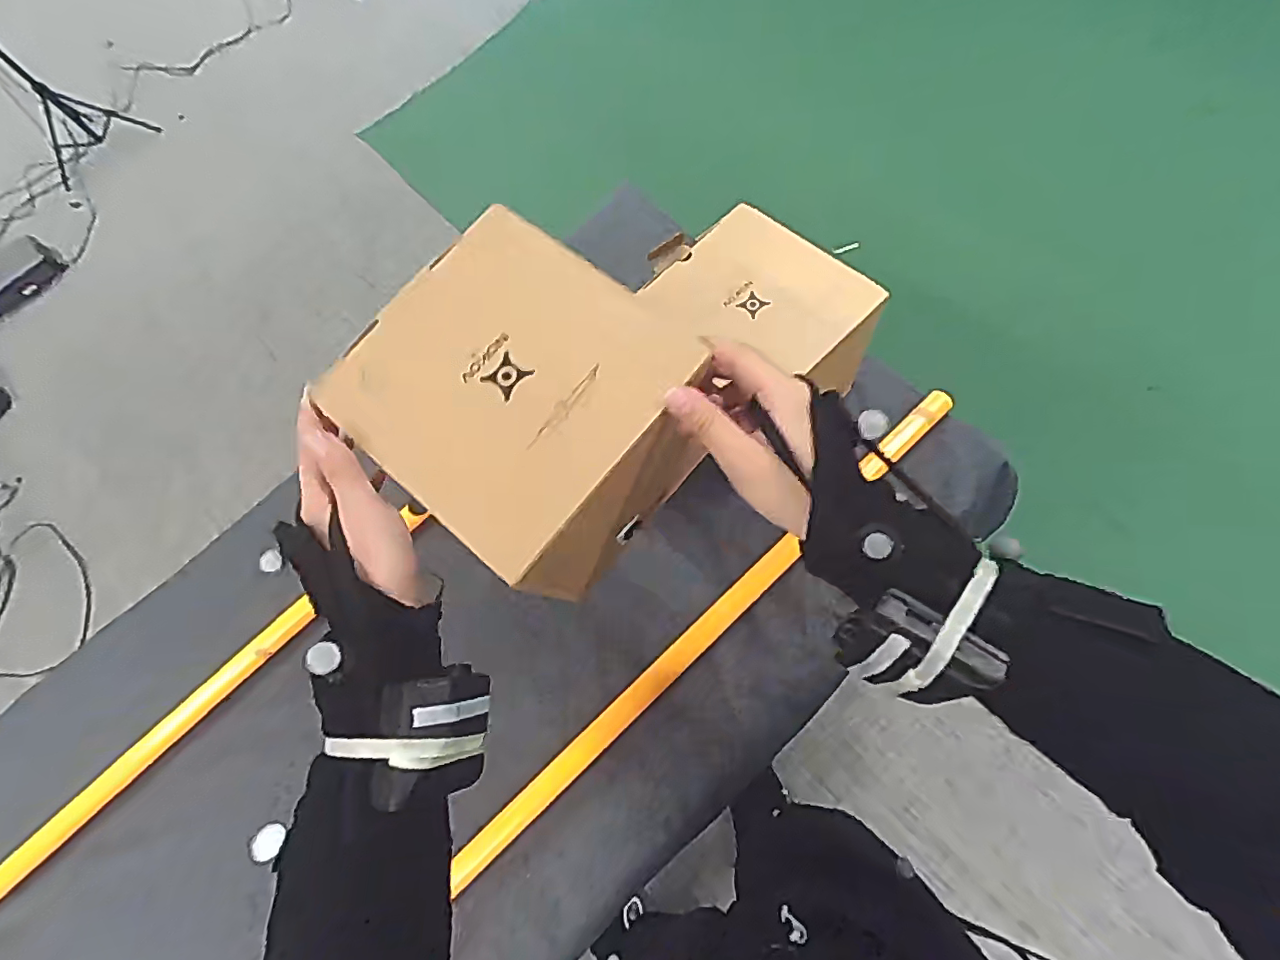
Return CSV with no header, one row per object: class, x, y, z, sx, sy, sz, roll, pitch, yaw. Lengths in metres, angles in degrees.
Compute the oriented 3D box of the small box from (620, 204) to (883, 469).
small box,0.109,-0.132,0.558,0.168,0.176,0.179,-43,68,-8
